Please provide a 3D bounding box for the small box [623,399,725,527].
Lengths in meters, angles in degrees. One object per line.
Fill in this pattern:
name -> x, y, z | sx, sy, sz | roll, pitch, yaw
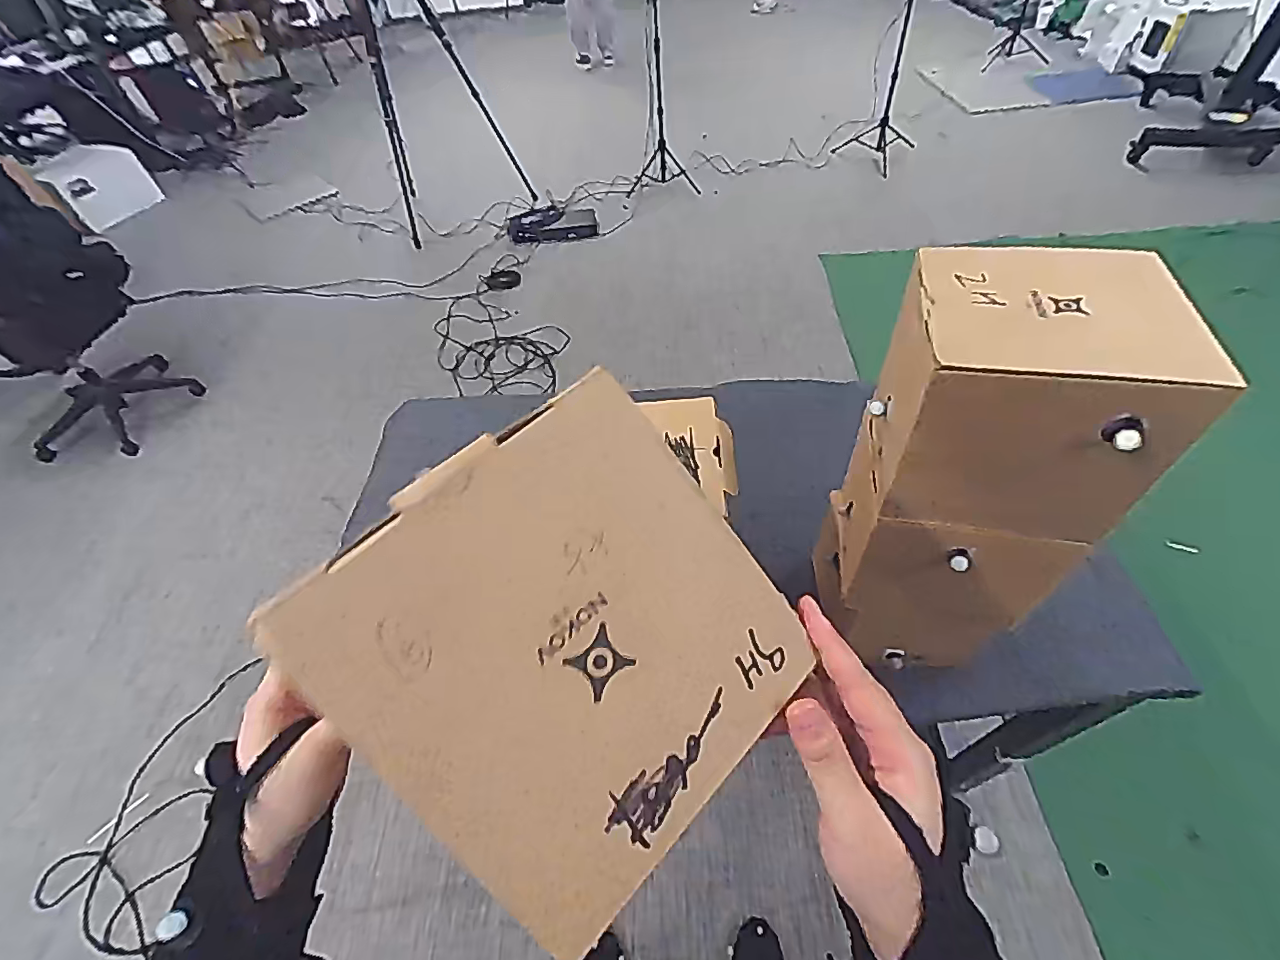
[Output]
small box -> 0.000, 0.028, 0.616 | 0.179, 0.176, 0.168 | -3, 50, 5

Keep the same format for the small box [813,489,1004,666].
small box -> 0.333, 0.127, 0.709 | 0.168, 0.176, 0.179 | -3, 50, 6

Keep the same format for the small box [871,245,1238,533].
small box -> 0.304, -0.073, 0.452 | 0.179, 0.176, 0.168 | 7, 51, 14

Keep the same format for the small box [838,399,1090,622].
small box -> 0.317, 0.034, 0.576 | 0.179, 0.176, 0.168 | 6, 51, 13

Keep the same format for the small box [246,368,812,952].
small box -> -0.054, 0.074, 0.294 | 0.168, 0.176, 0.179 | -42, 100, -19
